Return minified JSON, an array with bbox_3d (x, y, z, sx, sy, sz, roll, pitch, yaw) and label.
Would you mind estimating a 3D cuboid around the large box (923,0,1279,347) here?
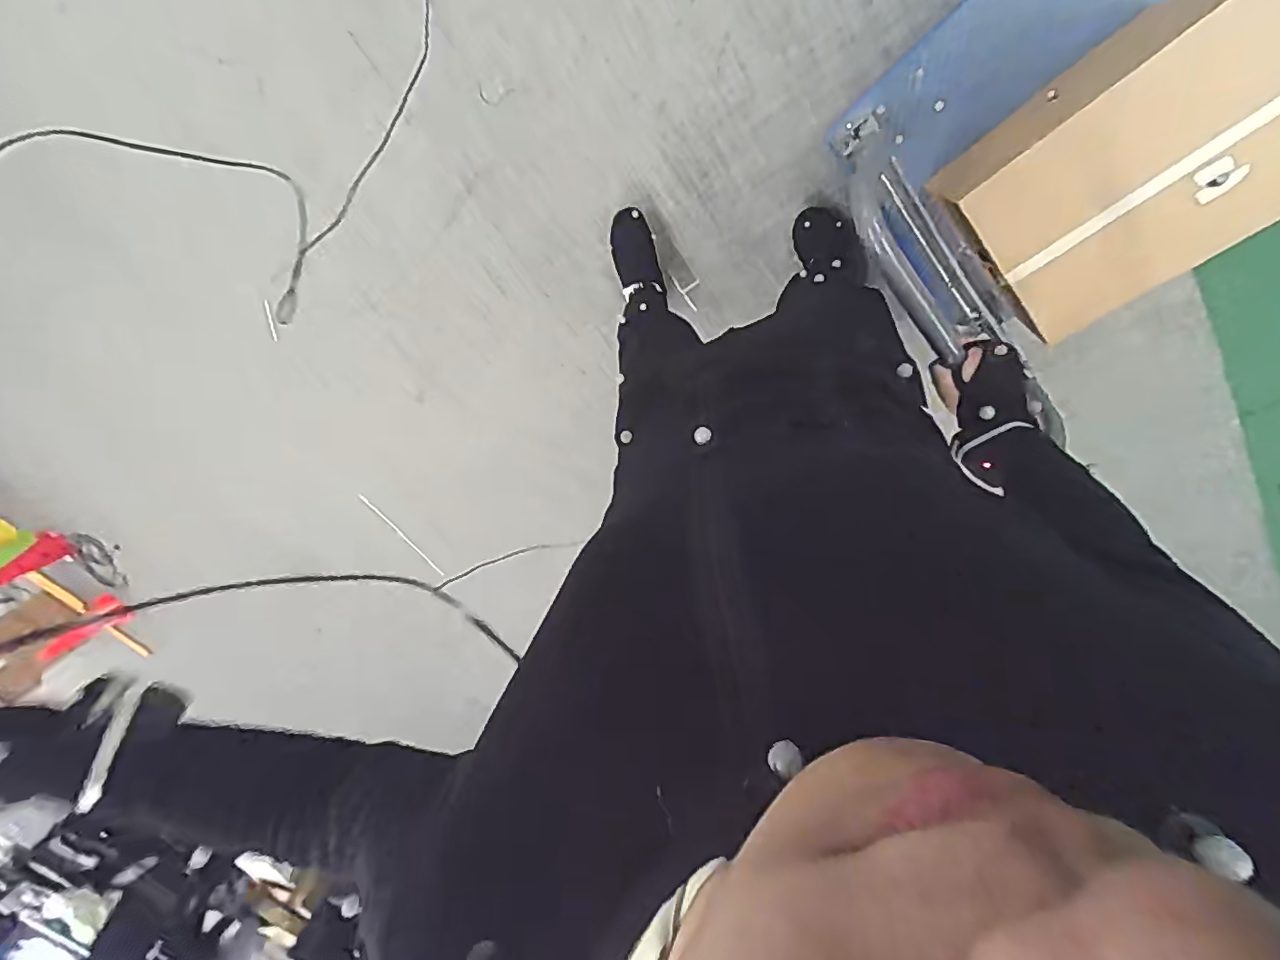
[{"bbox_3d":[0.786,-0.510,0.937,0.408,0.320,0.320,-34,108,31],"label":"large box"}]
